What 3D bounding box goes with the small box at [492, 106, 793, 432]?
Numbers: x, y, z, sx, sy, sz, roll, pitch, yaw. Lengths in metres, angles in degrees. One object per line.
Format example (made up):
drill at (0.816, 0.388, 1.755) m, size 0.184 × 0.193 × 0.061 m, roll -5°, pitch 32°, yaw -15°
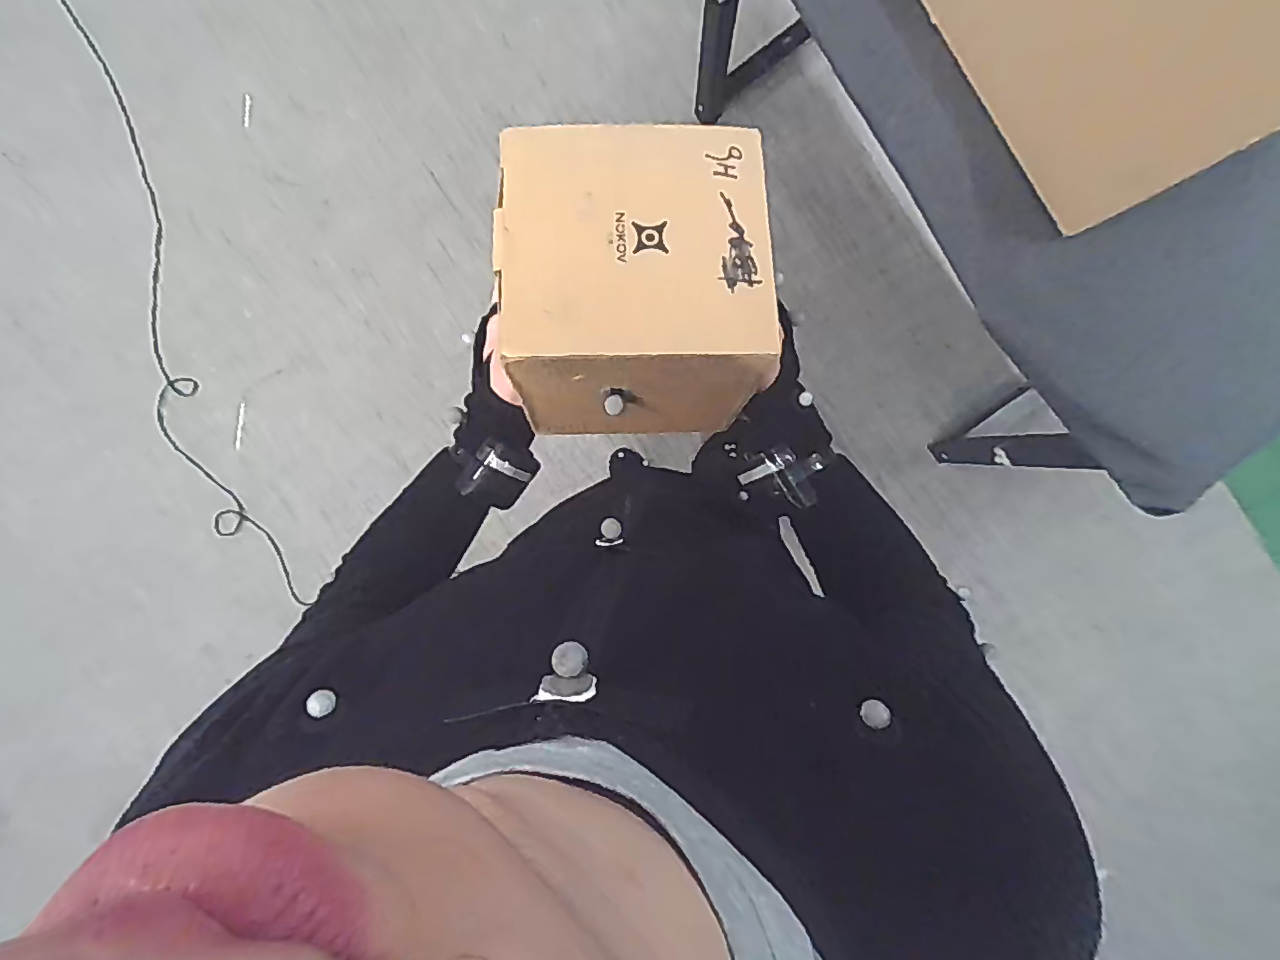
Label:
small box at (-0.003, -0.137, 0.403) m, size 0.179 × 0.176 × 0.168 m, roll -2°, pitch 78°, yaw -4°
